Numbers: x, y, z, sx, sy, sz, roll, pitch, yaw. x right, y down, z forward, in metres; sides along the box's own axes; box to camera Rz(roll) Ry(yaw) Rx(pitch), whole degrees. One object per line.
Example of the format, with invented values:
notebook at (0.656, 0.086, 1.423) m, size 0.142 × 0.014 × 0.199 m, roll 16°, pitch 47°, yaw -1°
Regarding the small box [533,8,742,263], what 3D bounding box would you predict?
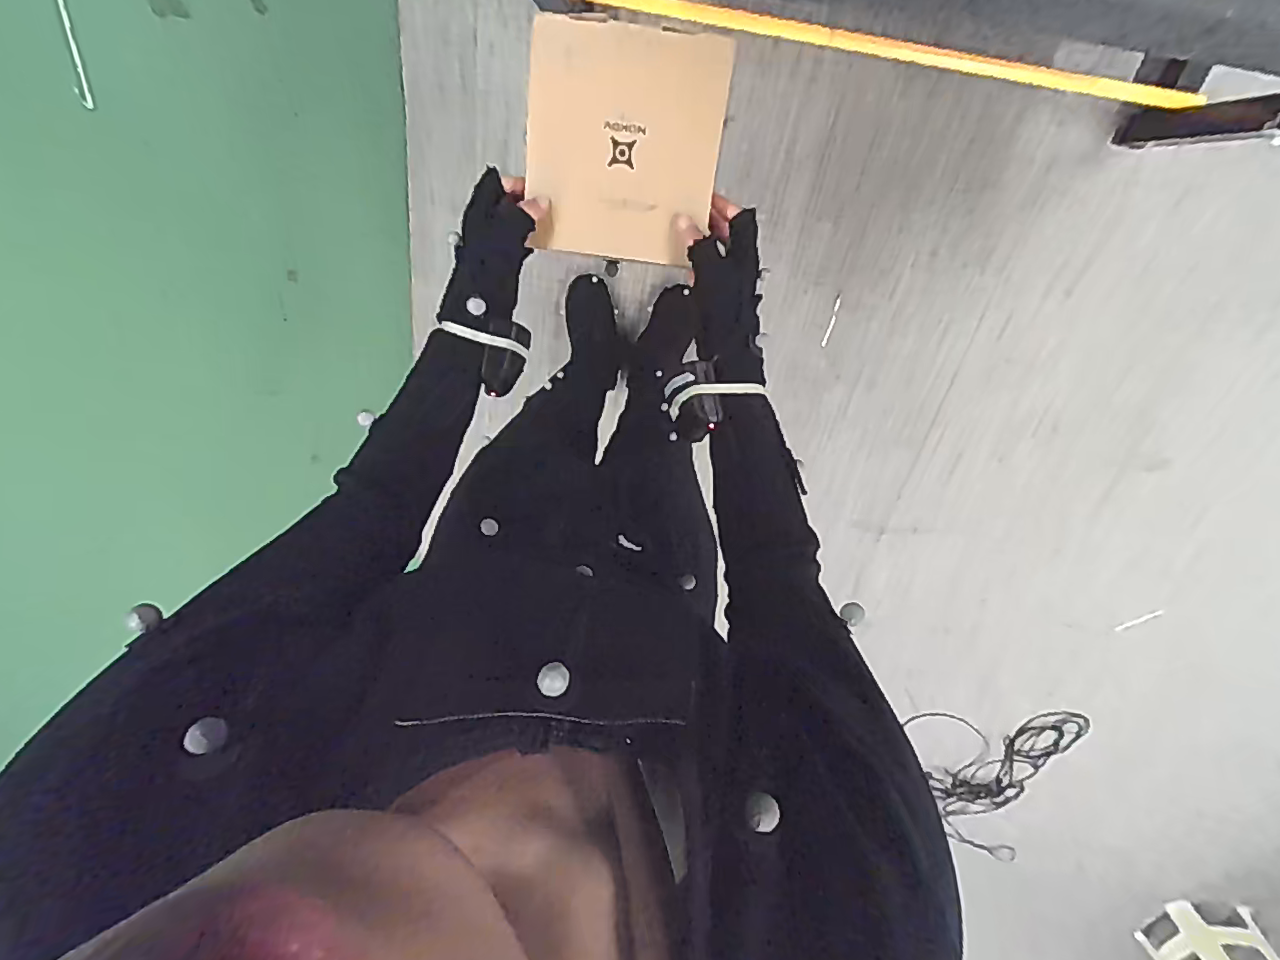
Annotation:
small box at (-0.003, -0.321, 0.541) m, size 0.168 × 0.176 × 0.179 m, roll 8°, pitch 113°, yaw 1°
